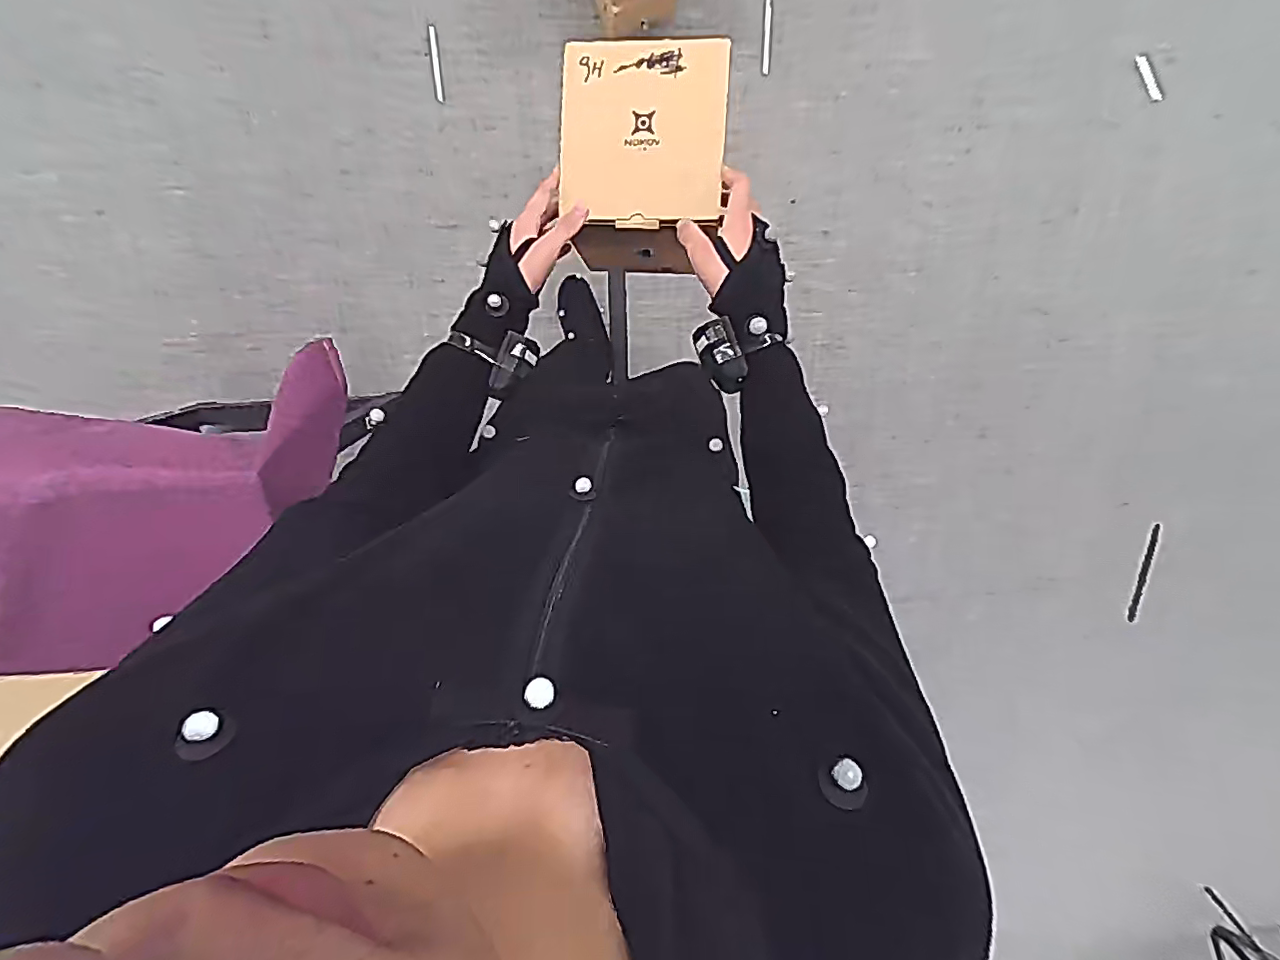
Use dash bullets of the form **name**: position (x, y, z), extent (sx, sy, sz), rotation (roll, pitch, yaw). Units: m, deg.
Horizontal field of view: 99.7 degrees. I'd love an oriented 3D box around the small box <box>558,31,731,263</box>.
- **small box**: position (0.011, -0.359, 0.615), extent (0.168, 0.176, 0.179), rotation (4, 96, 5)
